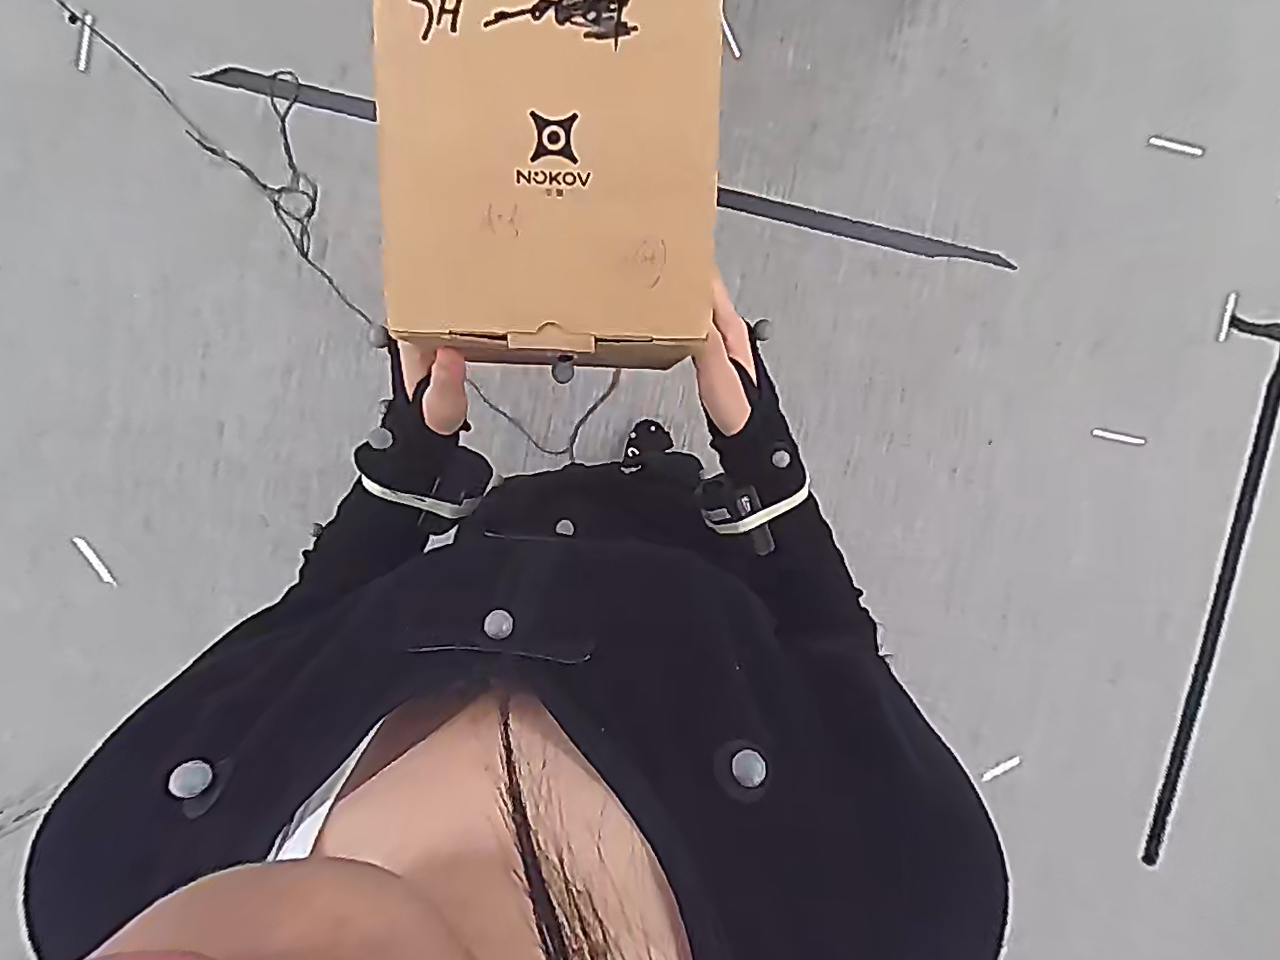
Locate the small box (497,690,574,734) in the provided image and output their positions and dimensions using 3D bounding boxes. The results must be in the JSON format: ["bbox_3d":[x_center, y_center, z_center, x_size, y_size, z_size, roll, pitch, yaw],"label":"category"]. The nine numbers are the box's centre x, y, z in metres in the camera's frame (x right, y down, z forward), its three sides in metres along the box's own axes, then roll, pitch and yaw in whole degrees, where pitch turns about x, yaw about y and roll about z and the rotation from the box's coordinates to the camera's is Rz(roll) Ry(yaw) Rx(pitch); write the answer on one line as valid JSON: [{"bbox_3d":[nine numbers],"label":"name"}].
[{"bbox_3d":[-0.281,0.675,1.426,0.179,0.176,0.168,13,93,-5],"label":"small box"}]

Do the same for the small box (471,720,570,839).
[{"bbox_3d":[-0.271,0.688,1.262,0.179,0.176,0.168,14,93,-5],"label":"small box"}]

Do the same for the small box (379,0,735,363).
[{"bbox_3d":[-0.044,-0.168,0.337,0.168,0.176,0.179,1,98,-4],"label":"small box"}]
